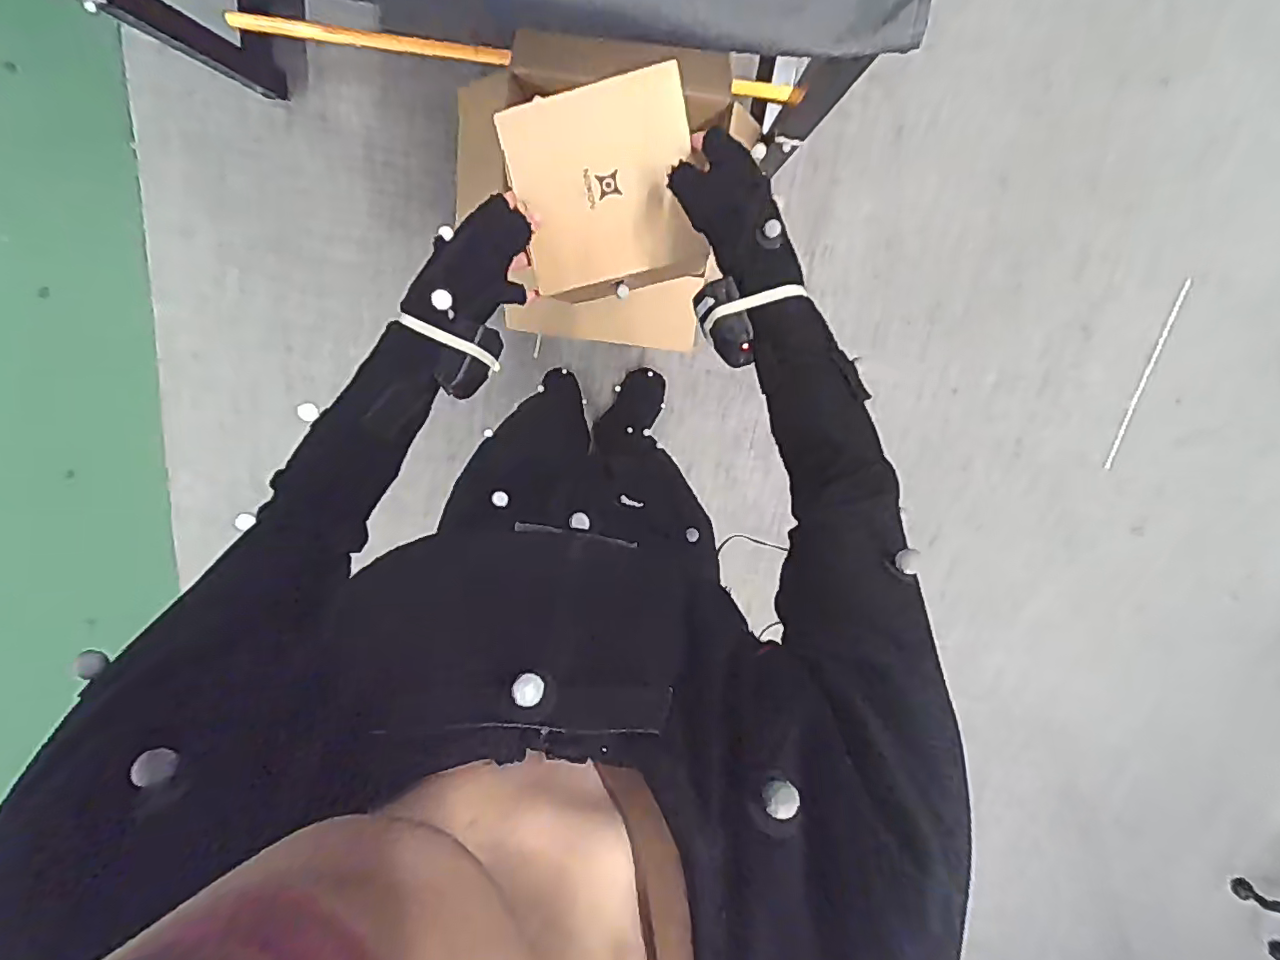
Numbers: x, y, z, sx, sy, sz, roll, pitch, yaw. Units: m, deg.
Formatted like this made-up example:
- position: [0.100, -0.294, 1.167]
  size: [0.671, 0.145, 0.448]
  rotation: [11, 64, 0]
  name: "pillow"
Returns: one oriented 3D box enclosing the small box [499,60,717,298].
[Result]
- position: [-0.023, -0.298, 0.578]
  size: [0.179, 0.176, 0.168]
  rotation: [-11, 105, 8]
  name: "small box"
